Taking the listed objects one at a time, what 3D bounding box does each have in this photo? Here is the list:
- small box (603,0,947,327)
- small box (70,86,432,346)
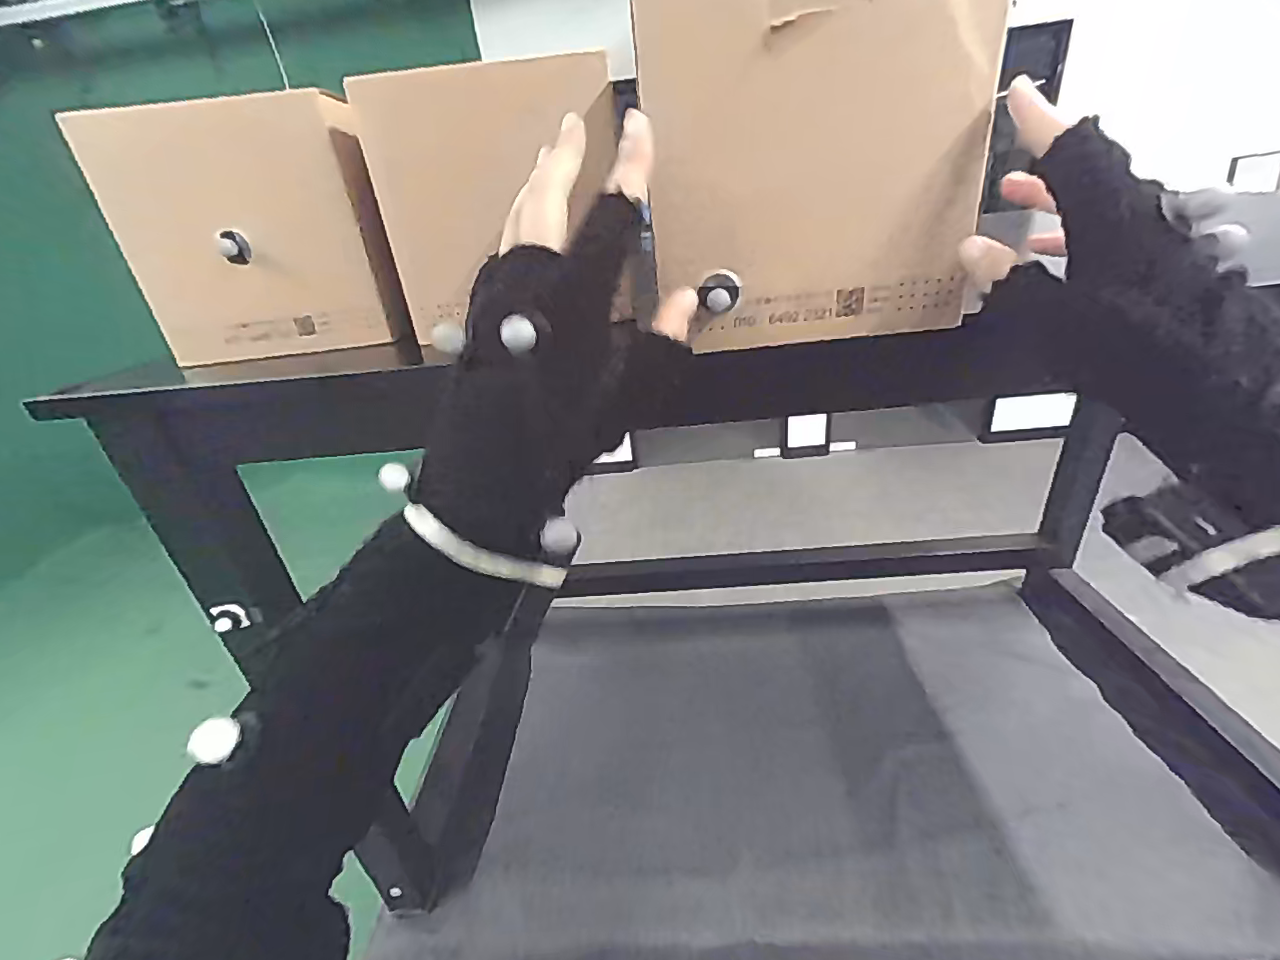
[{"bbox_3d":[0.077,-0.201,0.352,0.168,0.176,0.179,-4,26,5],"label":"small box"},{"bbox_3d":[-0.299,-0.218,0.472,0.168,0.176,0.179,-6,27,-2],"label":"small box"}]
